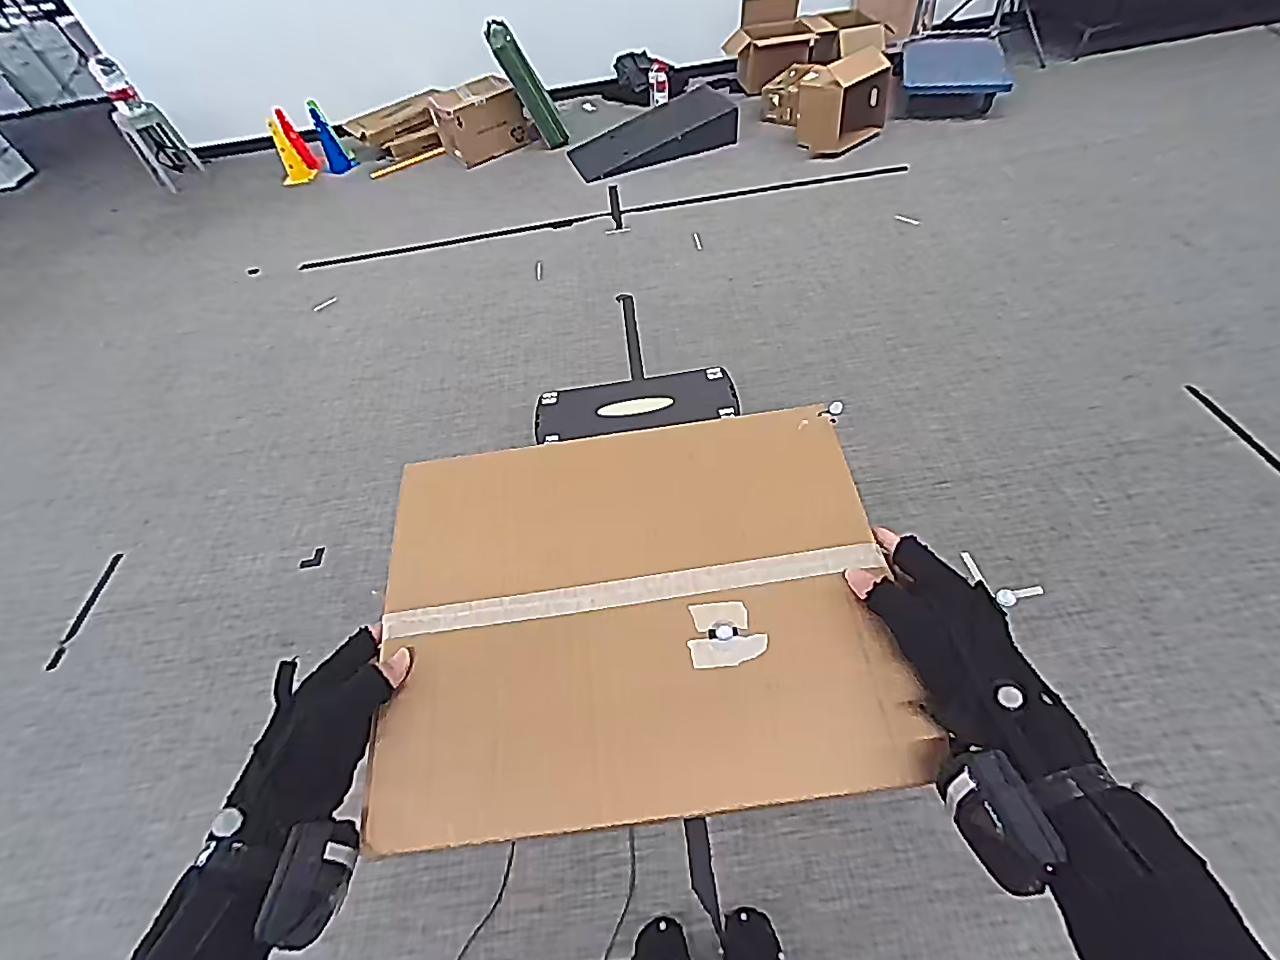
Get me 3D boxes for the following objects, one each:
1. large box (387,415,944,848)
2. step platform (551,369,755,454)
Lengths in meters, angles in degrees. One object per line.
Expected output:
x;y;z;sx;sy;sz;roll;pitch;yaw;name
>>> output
0.010;0.171;0.578;0.408;0.320;0.320;-8;60;1;large box
0.043;-0.180;1.844;0.684;0.204;0.286;-9;52;0;step platform
